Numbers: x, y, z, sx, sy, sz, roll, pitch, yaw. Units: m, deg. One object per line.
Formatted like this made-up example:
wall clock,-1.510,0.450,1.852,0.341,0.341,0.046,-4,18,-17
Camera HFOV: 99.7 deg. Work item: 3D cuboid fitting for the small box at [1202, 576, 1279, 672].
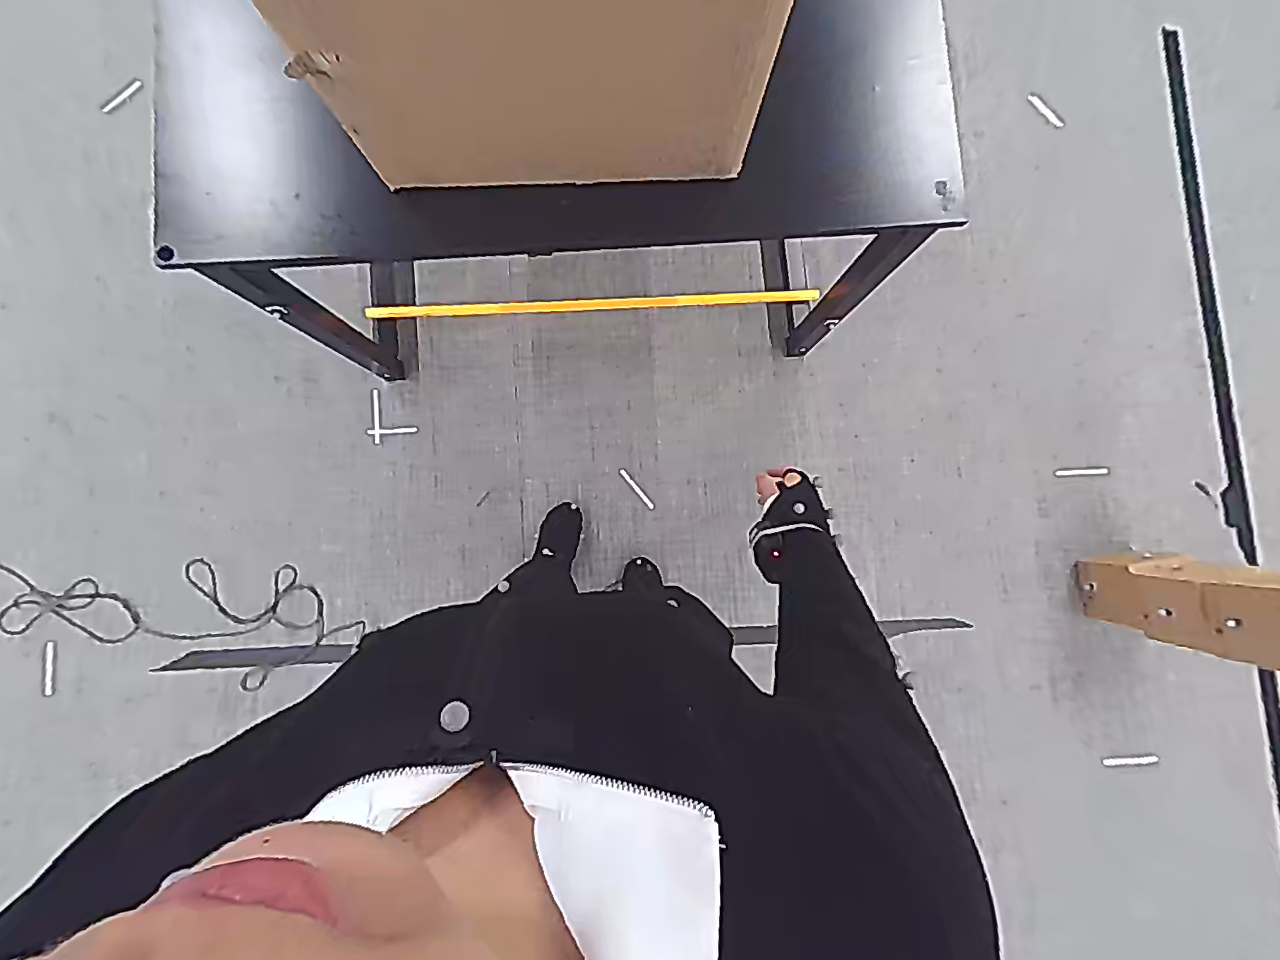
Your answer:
small box,1.329,0.292,1.107,0.179,0.176,0.168,-5,85,-2

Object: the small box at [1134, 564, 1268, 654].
small box,1.321,0.297,1.273,0.179,0.176,0.168,-10,86,-1

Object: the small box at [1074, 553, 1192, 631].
small box,1.317,0.291,1.438,0.179,0.176,0.168,-9,85,-1
